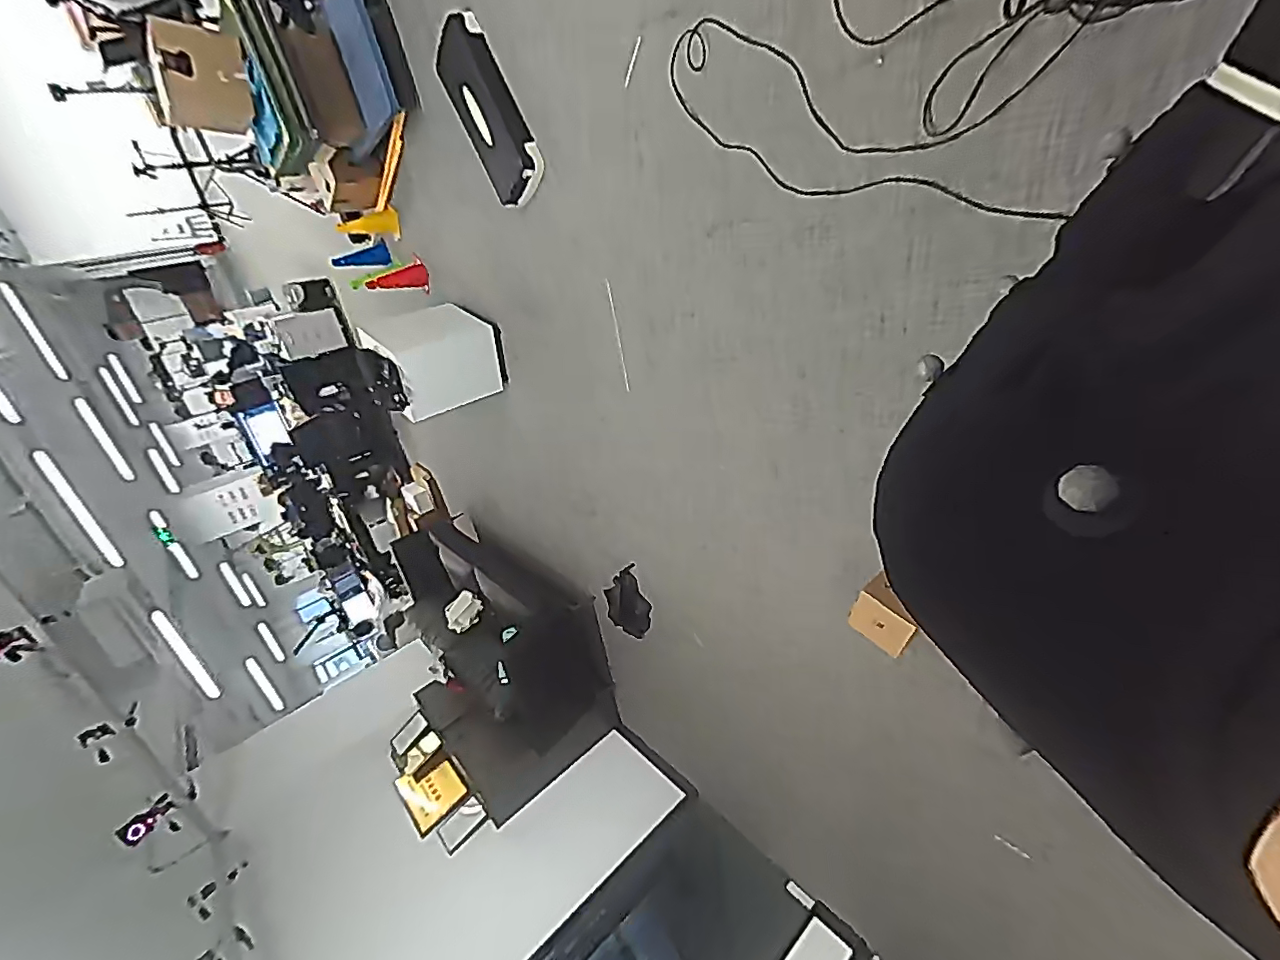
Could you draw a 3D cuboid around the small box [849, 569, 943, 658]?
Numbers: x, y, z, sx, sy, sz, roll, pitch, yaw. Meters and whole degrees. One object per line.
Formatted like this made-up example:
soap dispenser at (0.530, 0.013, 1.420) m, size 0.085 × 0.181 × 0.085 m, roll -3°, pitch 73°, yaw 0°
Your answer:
small box at (0.780, 0.396, 1.649) m, size 0.179 × 0.176 × 0.168 m, roll 36°, pitch 140°, yaw 33°
